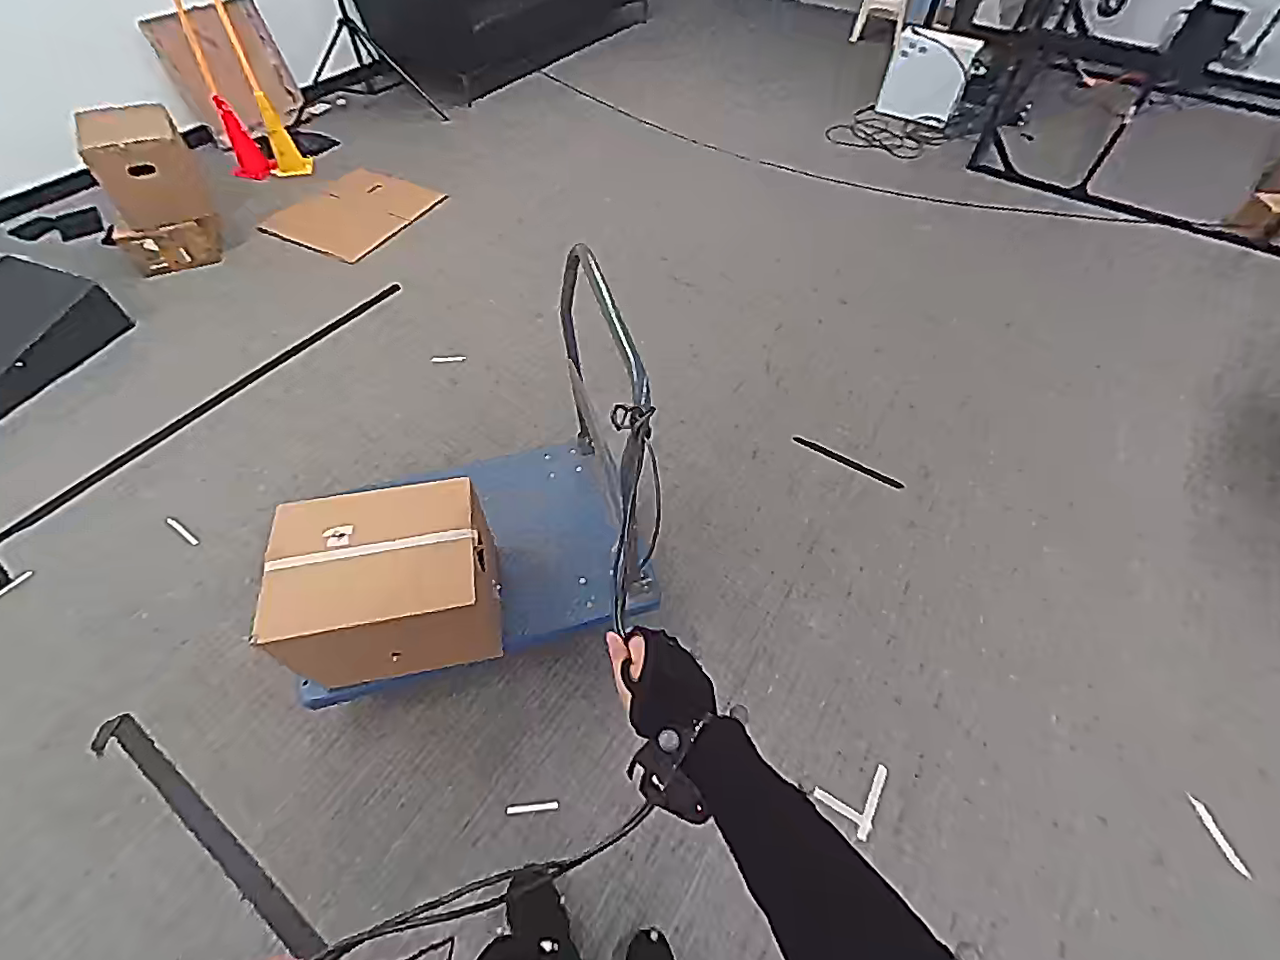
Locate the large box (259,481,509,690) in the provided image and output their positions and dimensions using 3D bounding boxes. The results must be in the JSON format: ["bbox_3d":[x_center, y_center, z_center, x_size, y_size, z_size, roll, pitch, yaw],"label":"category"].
[{"bbox_3d":[-0.531,0.240,1.209,0.408,0.320,0.320,-9,54,-8],"label":"large box"}]
